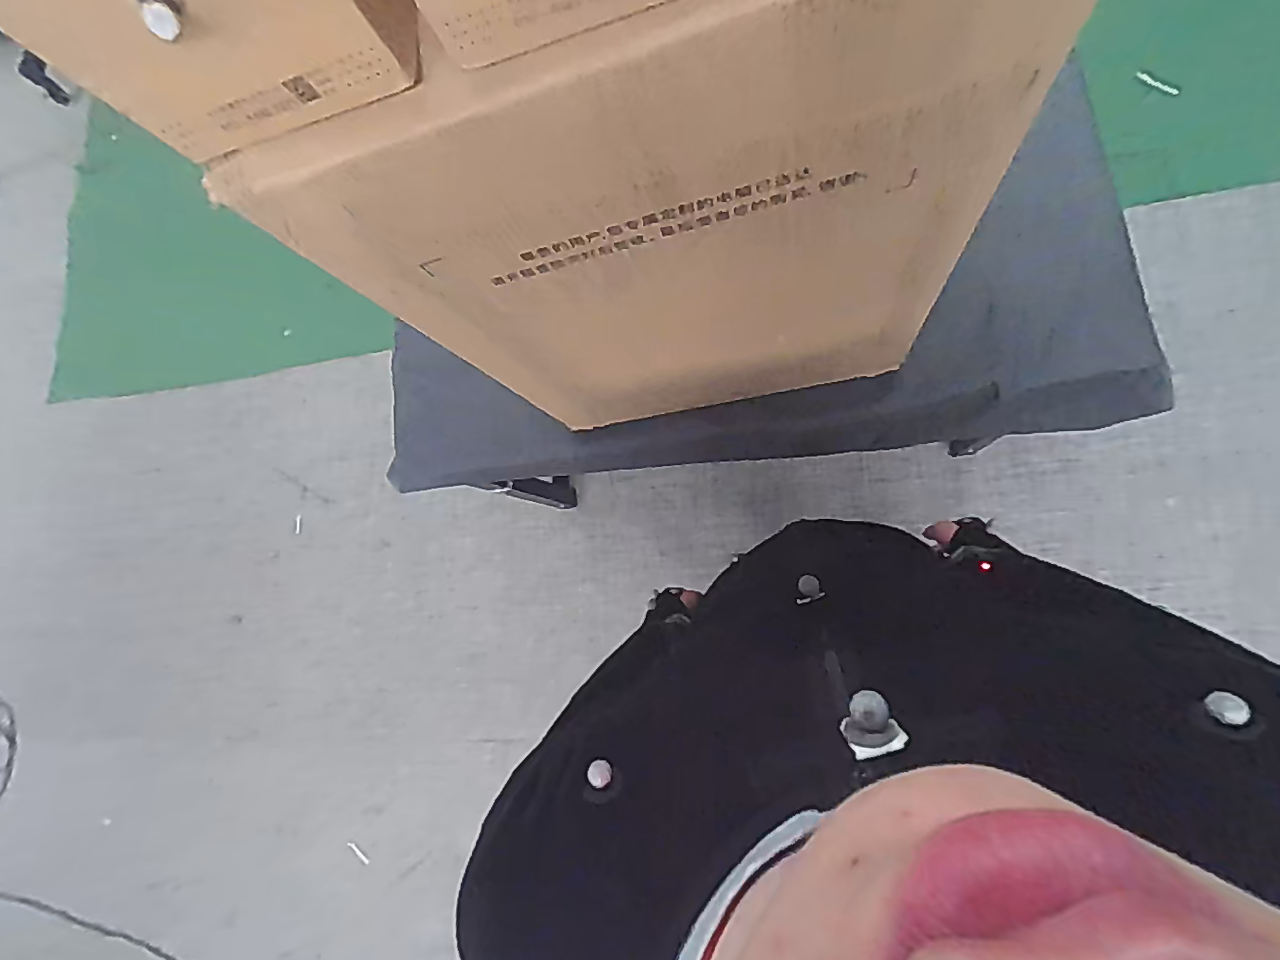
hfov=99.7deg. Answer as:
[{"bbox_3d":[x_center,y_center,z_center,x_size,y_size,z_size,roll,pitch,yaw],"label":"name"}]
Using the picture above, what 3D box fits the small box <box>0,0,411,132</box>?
[{"bbox_3d":[-0.231,-0.308,0.260,0.168,0.176,0.179,-8,80,14],"label":"small box"}]
